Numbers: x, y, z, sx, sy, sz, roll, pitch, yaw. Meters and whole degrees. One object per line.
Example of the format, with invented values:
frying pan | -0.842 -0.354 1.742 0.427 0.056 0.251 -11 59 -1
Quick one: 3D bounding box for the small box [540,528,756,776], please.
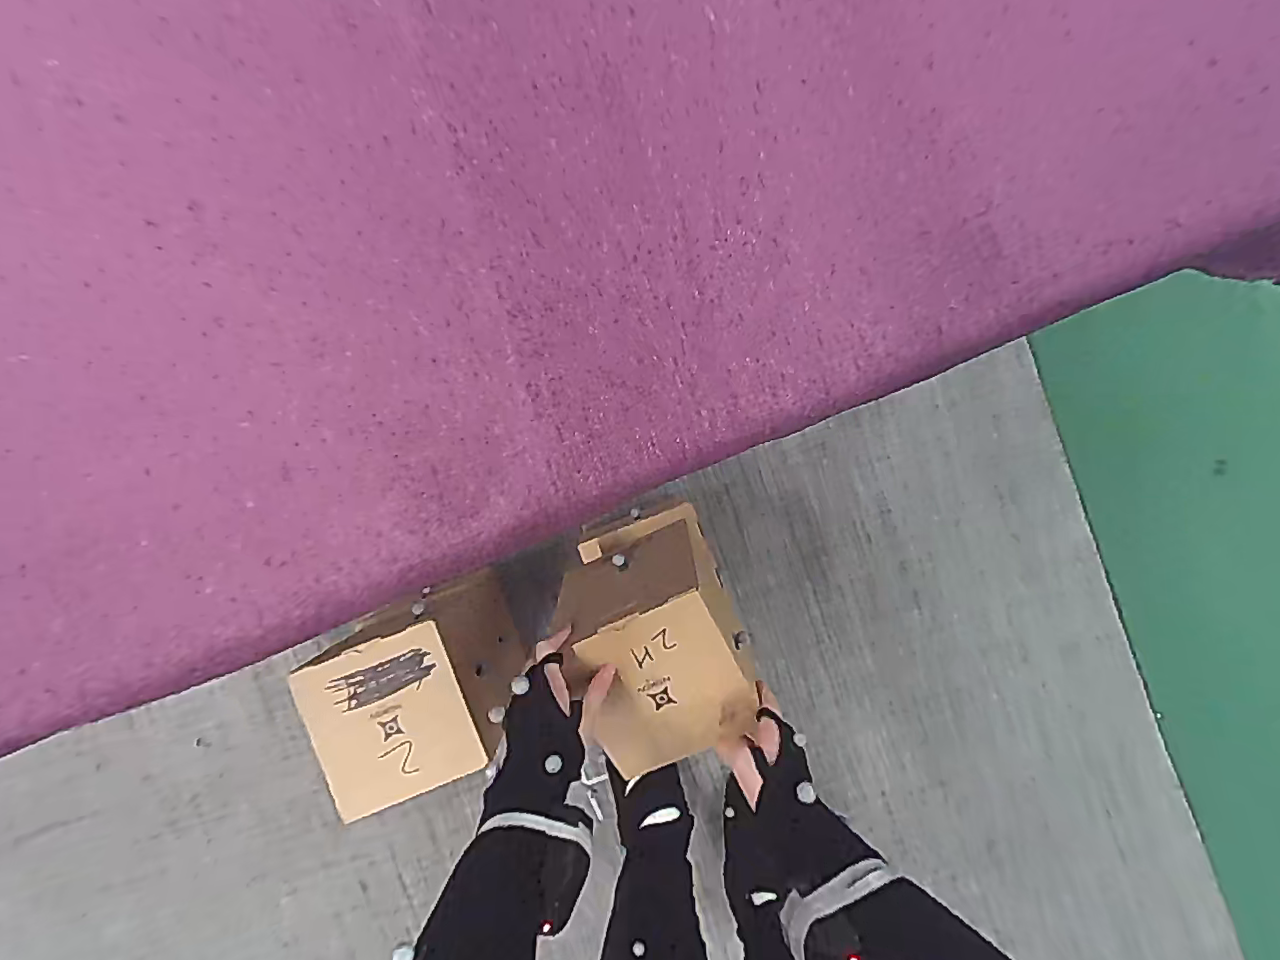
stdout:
small box | 0.013 0.184 0.614 0.168 0.176 0.179 -25 106 9
